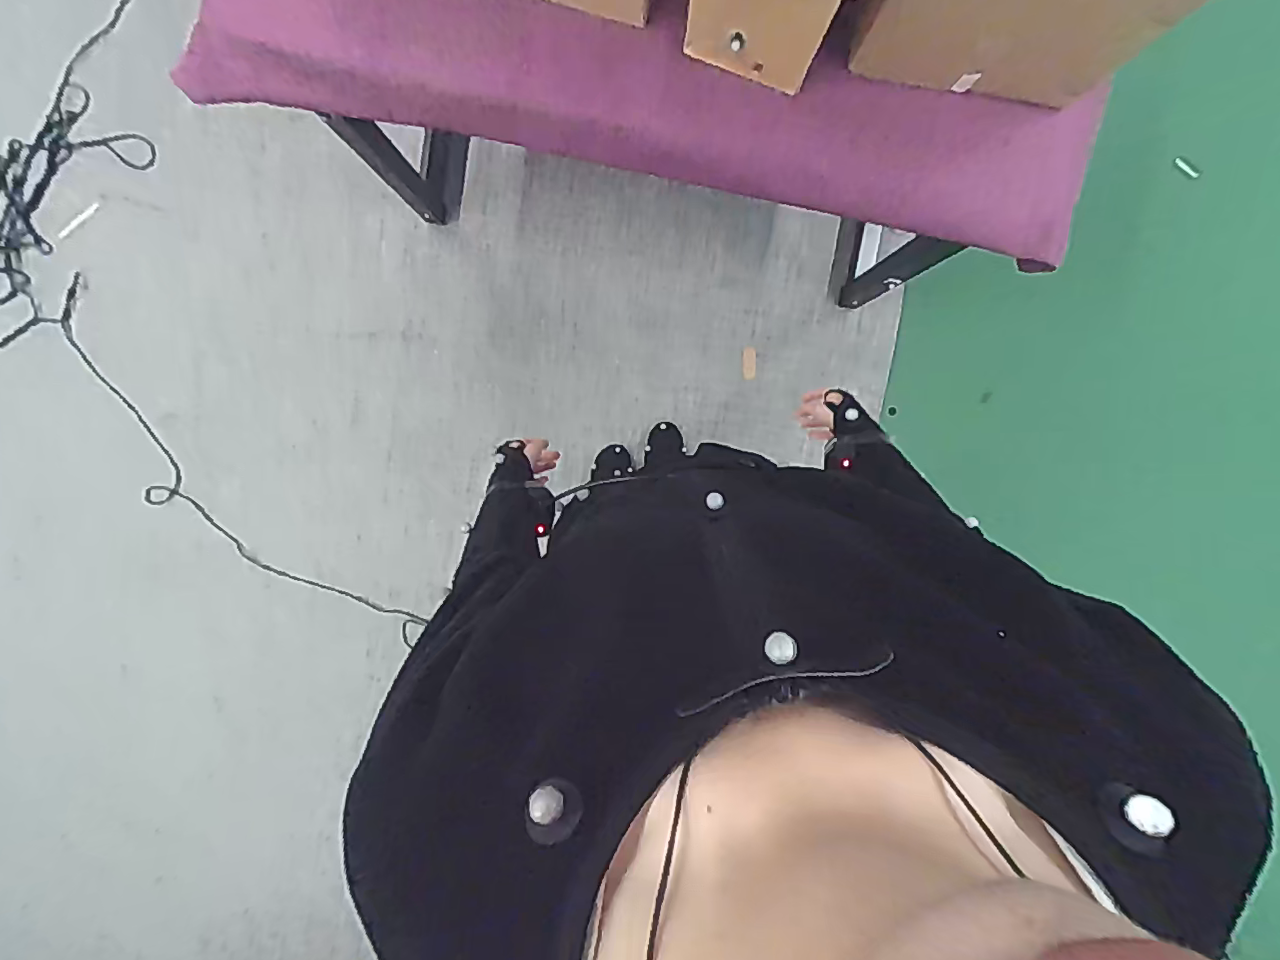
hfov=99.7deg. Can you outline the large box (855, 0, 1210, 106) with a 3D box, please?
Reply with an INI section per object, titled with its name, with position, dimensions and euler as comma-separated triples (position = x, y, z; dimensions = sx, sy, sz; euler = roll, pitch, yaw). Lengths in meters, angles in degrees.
[large box]
position = 0.465, -0.711, 0.568
dimensions = 0.320, 0.320, 0.408
euler = 10, 96, 1
